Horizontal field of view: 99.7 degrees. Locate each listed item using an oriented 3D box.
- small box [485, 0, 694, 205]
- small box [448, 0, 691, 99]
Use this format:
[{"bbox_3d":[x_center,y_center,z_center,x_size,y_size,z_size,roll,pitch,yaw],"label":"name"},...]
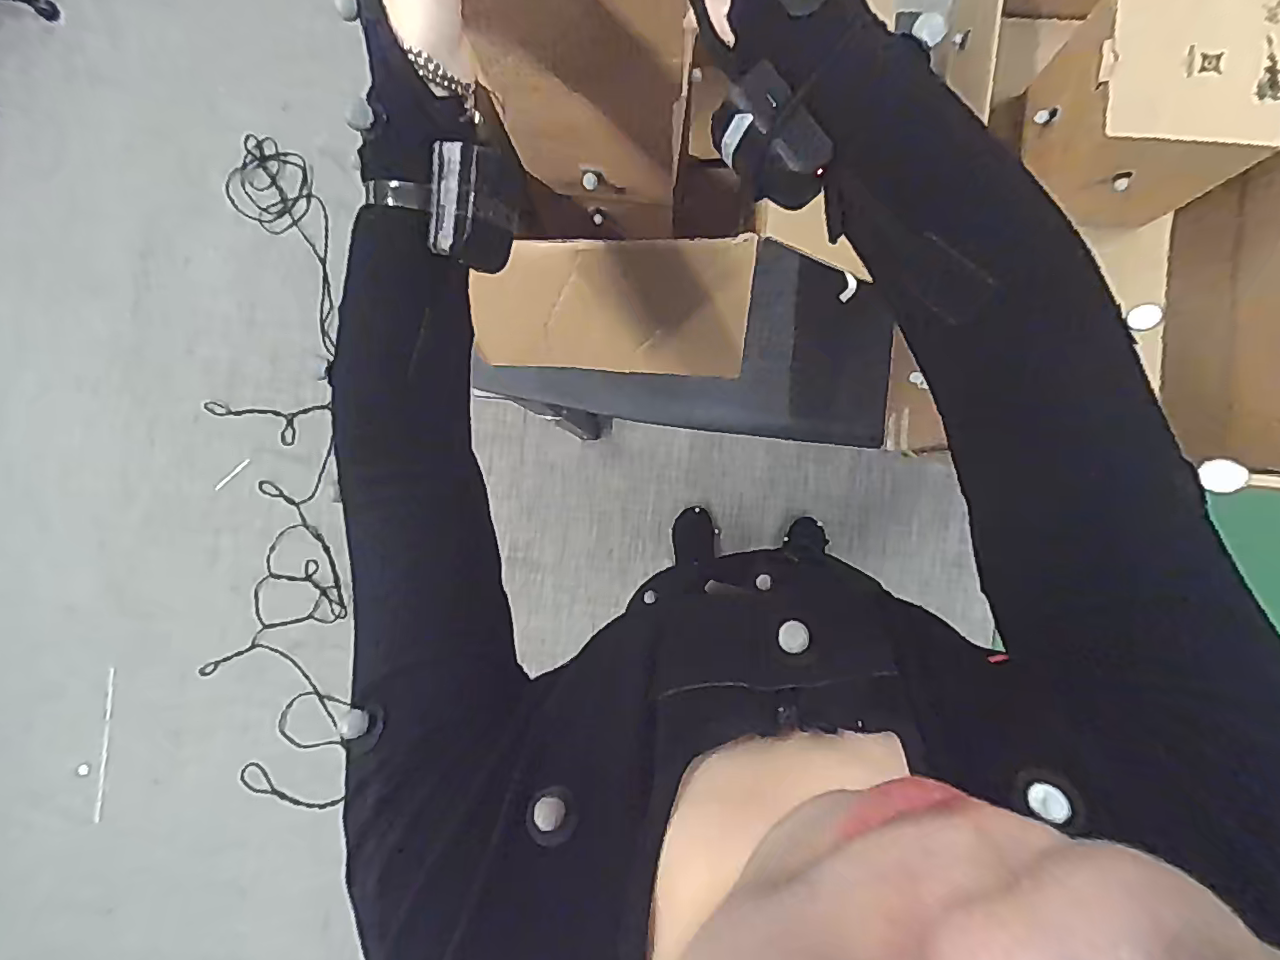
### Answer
[{"bbox_3d":[-0.039,-0.413,0.544,0.168,0.176,0.179,8,91,4],"label":"small box"},{"bbox_3d":[-0.047,-0.406,0.377,0.179,0.176,0.168,6,90,1],"label":"small box"}]
